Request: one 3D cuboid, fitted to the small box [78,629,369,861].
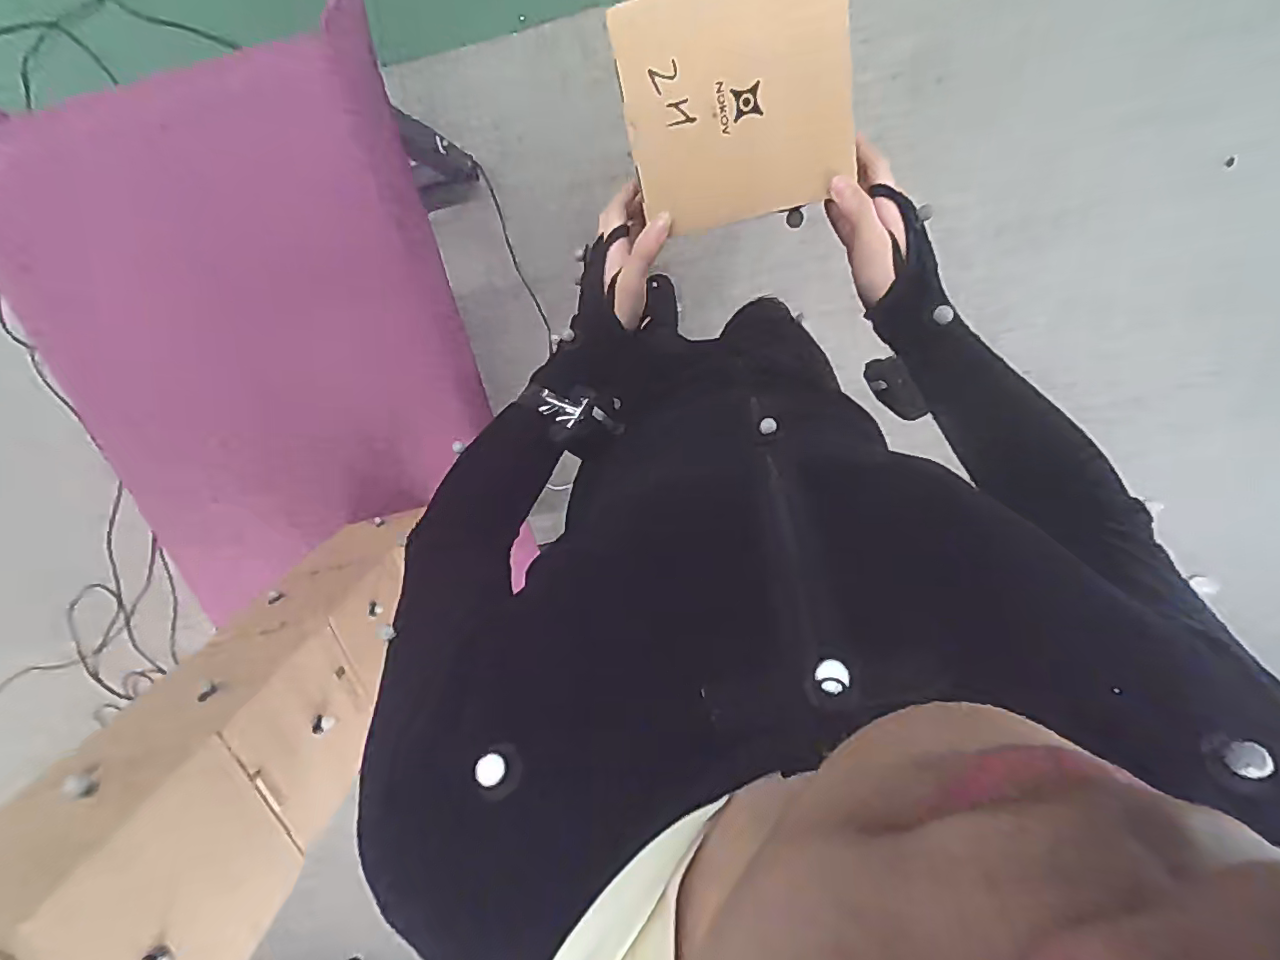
[{"bbox_3d":[-0.425,0.284,0.581,0.179,0.176,0.168,-14,109,6],"label":"small box"}]

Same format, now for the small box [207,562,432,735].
[{"bbox_3d":[-0.414,0.227,0.734,0.168,0.176,0.179,-12,110,6],"label":"small box"}]

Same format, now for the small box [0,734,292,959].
[{"bbox_3d":[-0.426,0.338,0.426,0.168,0.176,0.179,-14,108,7],"label":"small box"}]

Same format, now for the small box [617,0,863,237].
[{"bbox_3d":[0.090,-0.329,0.490,0.179,0.176,0.168,-7,114,12],"label":"small box"}]
